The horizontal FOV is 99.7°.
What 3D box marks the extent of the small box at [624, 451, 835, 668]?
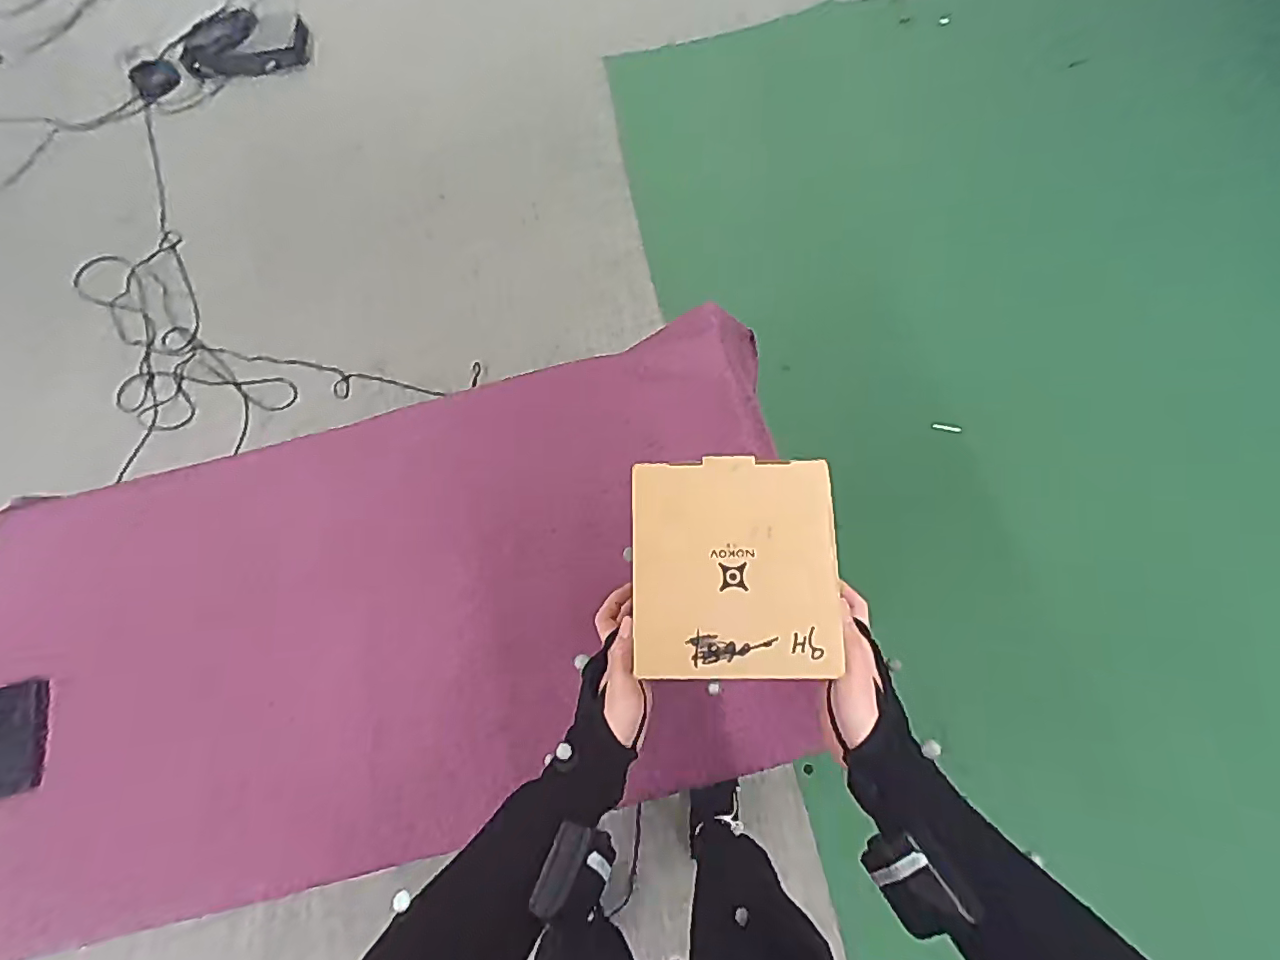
[{"bbox_3d":[0.074,0.079,0.516,0.168,0.176,0.179,-2,77,4],"label":"small box"}]
